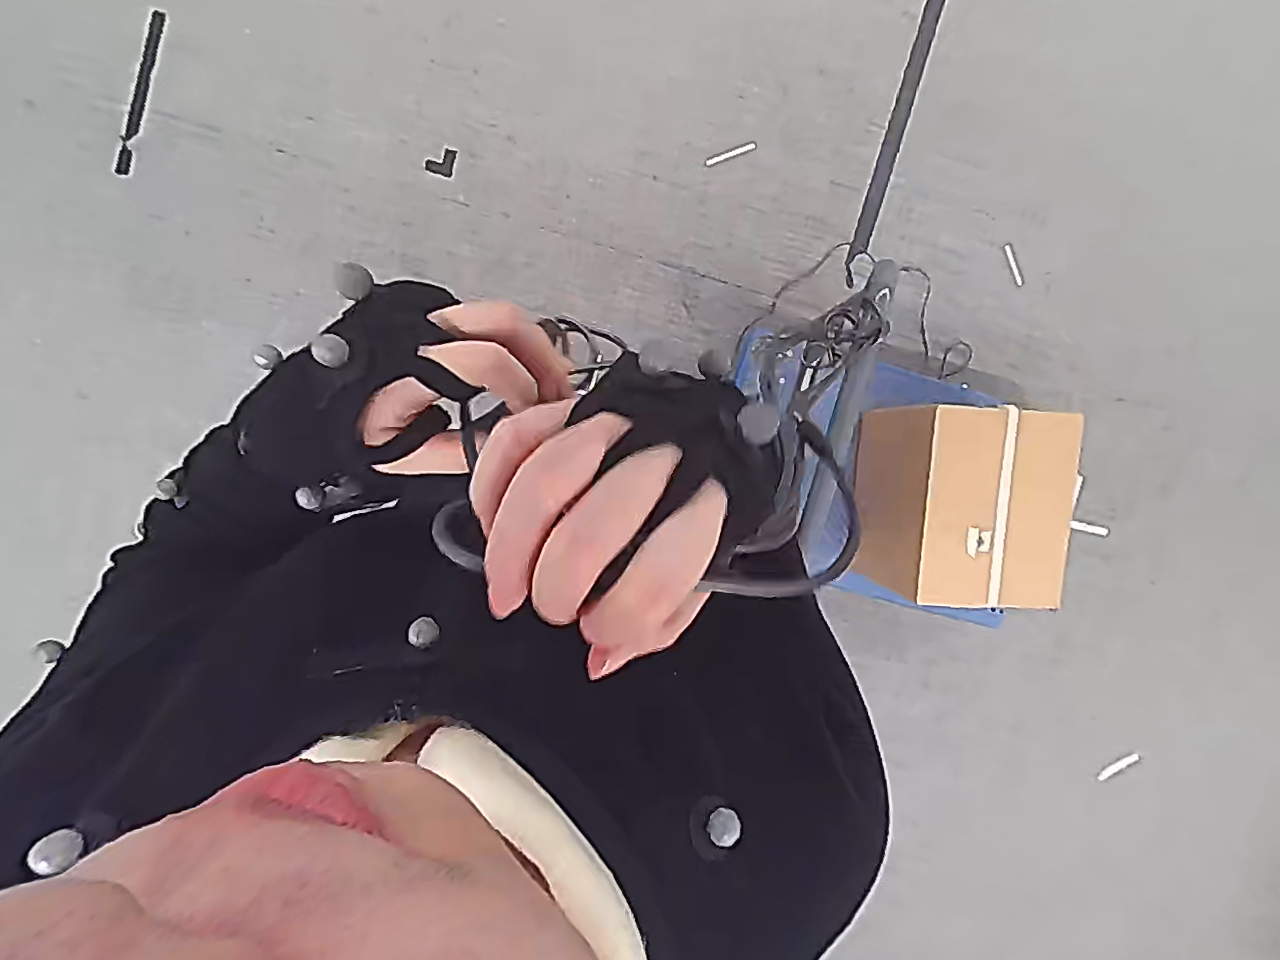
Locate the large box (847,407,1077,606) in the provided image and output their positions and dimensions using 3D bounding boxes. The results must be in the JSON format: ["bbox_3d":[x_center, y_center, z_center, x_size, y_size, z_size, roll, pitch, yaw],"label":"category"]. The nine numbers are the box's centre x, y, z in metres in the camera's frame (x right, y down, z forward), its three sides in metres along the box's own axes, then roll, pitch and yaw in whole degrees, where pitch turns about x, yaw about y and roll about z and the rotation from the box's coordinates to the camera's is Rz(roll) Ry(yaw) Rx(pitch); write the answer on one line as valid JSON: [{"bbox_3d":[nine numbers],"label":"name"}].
[{"bbox_3d":[0.700,0.041,1.230,0.320,0.320,0.408,3,96,-4],"label":"large box"}]
